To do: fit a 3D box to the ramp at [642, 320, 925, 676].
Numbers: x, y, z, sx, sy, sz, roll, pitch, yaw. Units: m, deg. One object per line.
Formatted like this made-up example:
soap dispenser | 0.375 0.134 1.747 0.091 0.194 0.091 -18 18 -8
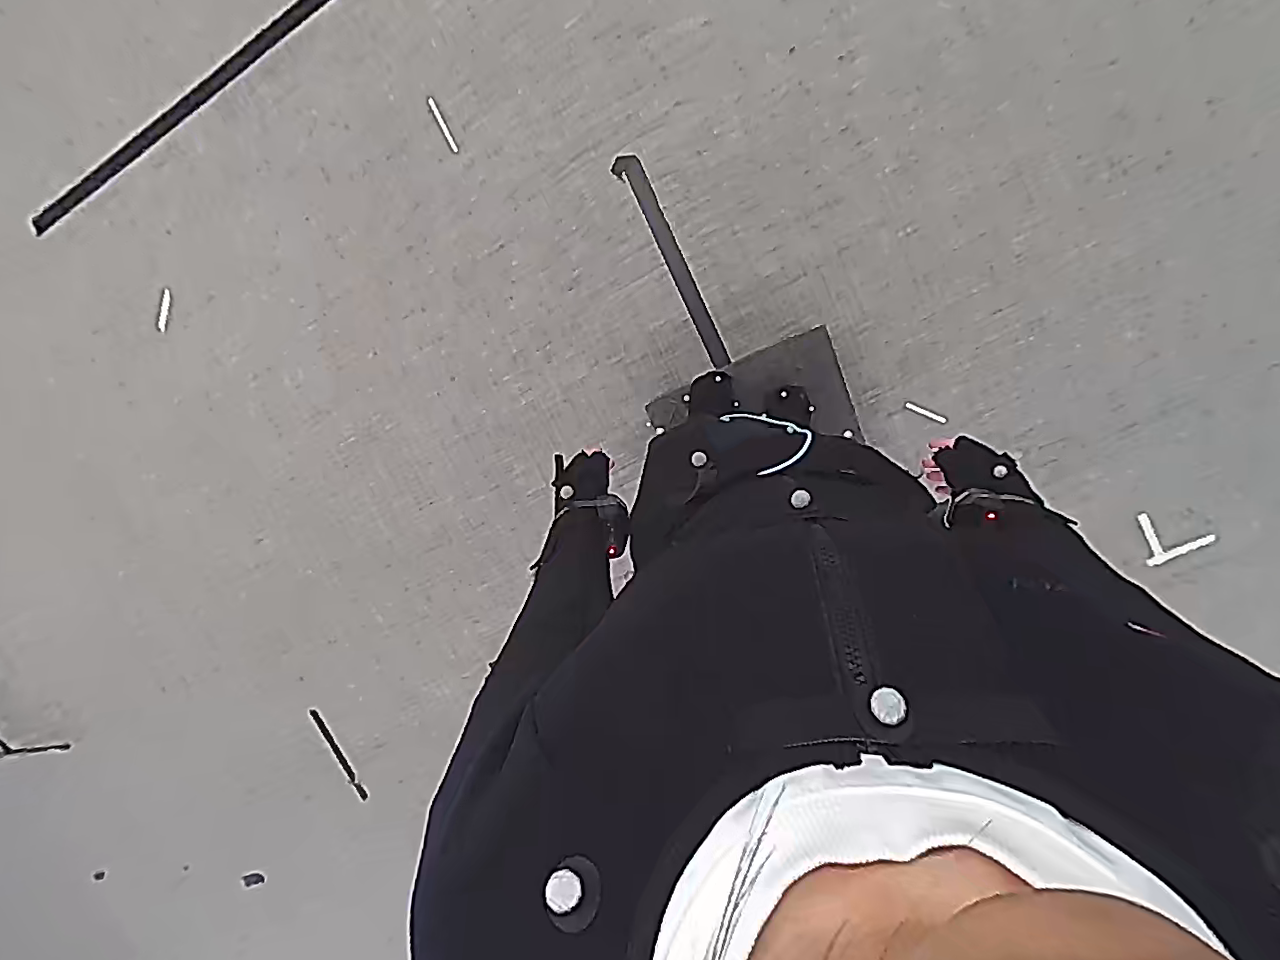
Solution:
ramp | 0.434 0.116 1.520 0.509 0.206 0.991 -25 99 11
